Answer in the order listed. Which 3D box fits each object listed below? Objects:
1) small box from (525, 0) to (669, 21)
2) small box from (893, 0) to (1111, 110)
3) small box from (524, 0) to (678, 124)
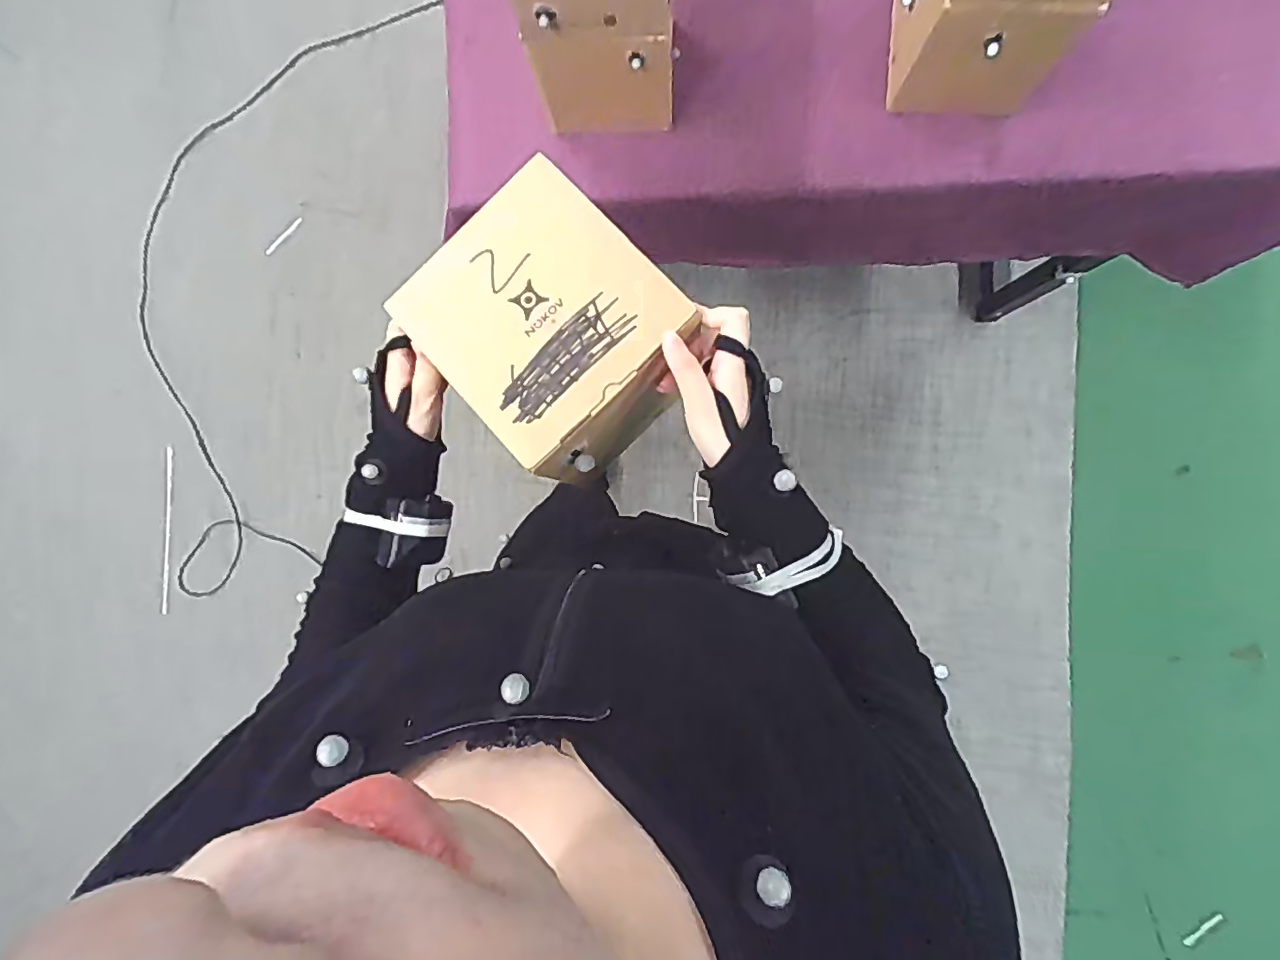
[{"bbox_3d":[-0.052,-0.605,0.539,0.168,0.176,0.179,1,88,3],"label":"small box"},{"bbox_3d":[0.436,-0.596,0.670,0.179,0.176,0.168,6,90,4],"label":"small box"},{"bbox_3d":[-0.041,-0.597,0.703,0.179,0.176,0.168,1,89,3],"label":"small box"}]
